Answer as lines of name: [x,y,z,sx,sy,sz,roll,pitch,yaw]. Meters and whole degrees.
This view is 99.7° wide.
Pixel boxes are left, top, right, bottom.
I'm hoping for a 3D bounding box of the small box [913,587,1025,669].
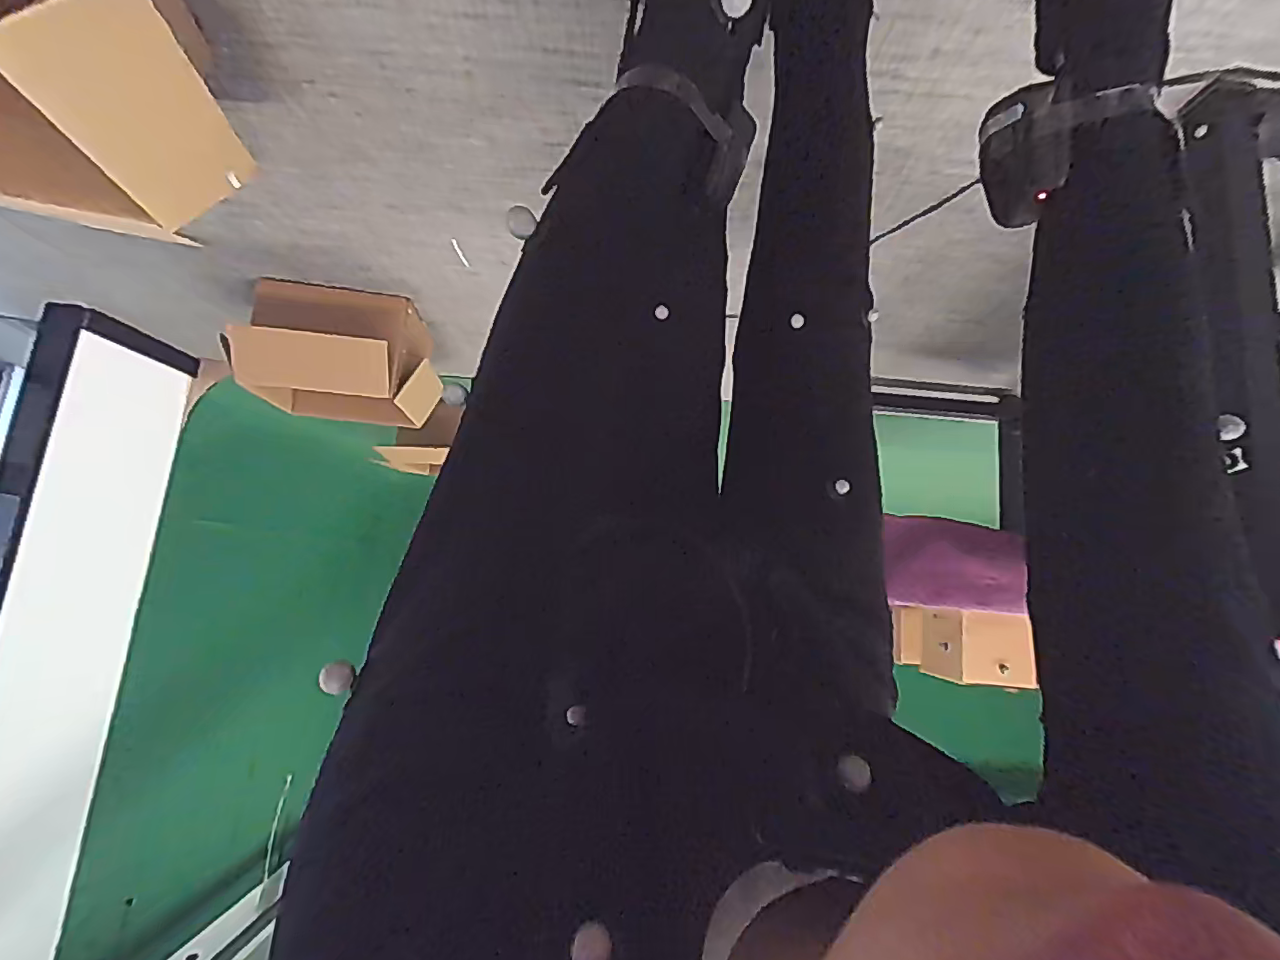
small box: [0.795,0.353,1.318,0.179,0.176,0.168,6,171,-5]
